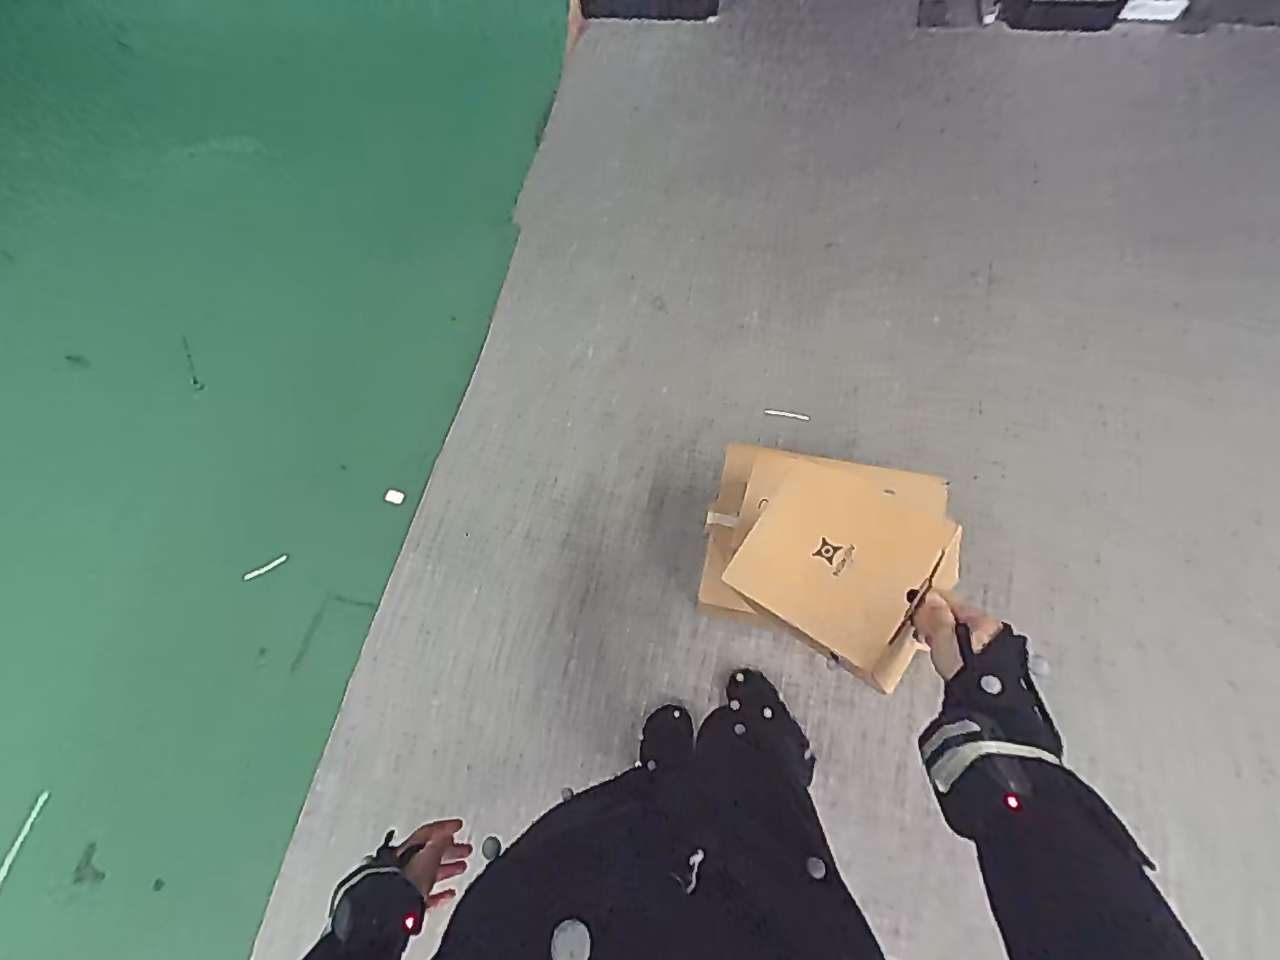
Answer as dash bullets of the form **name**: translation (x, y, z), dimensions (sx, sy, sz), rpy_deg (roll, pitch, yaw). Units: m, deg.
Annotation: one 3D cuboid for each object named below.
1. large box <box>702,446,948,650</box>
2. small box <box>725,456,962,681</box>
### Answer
- **large box**: translation (0.348, 0.153, 1.108), dimensions (0.408, 0.320, 0.320), rpy_deg (11, 74, 9)
- **small box**: translation (0.230, 0.104, 0.608), dimensions (0.179, 0.176, 0.168), rpy_deg (28, 80, 36)
